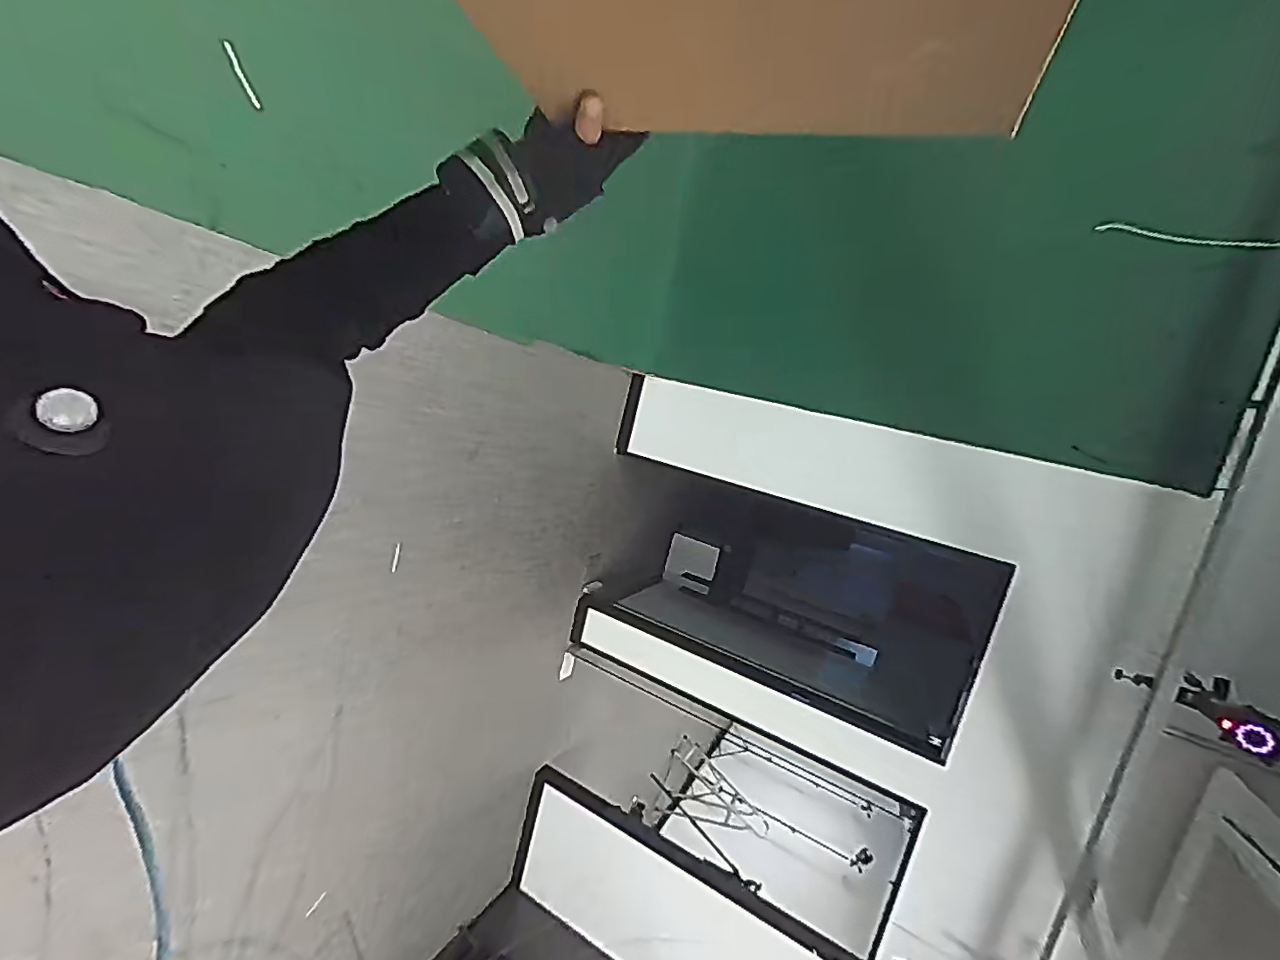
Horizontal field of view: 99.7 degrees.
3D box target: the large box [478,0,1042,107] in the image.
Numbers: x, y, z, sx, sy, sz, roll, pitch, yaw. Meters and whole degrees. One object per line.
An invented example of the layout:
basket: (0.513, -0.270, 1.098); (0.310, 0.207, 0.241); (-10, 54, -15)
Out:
large box: (0.037, -0.397, 0.172); (0.408, 0.320, 0.320); (-3, 106, -71)
